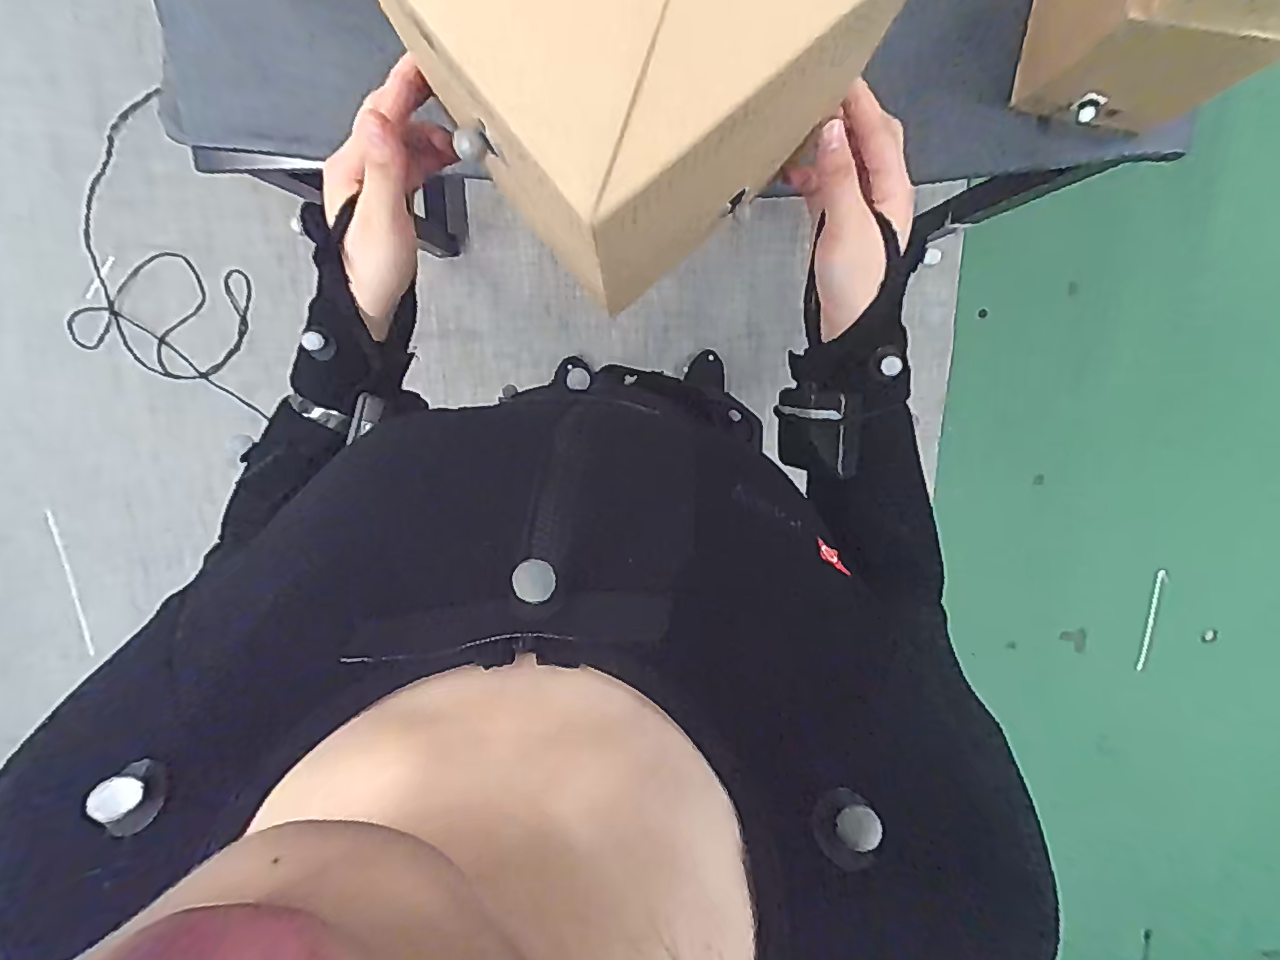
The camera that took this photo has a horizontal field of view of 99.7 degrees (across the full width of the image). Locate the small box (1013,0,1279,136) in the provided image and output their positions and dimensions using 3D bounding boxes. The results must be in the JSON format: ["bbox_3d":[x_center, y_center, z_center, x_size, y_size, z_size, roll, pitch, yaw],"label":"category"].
[{"bbox_3d":[0.517,-0.483,0.538,0.168,0.176,0.179,9,100,1],"label":"small box"}]

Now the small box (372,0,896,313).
[{"bbox_3d":[-0.005,-0.216,0.275,0.179,0.176,0.168,-39,95,4],"label":"small box"}]
